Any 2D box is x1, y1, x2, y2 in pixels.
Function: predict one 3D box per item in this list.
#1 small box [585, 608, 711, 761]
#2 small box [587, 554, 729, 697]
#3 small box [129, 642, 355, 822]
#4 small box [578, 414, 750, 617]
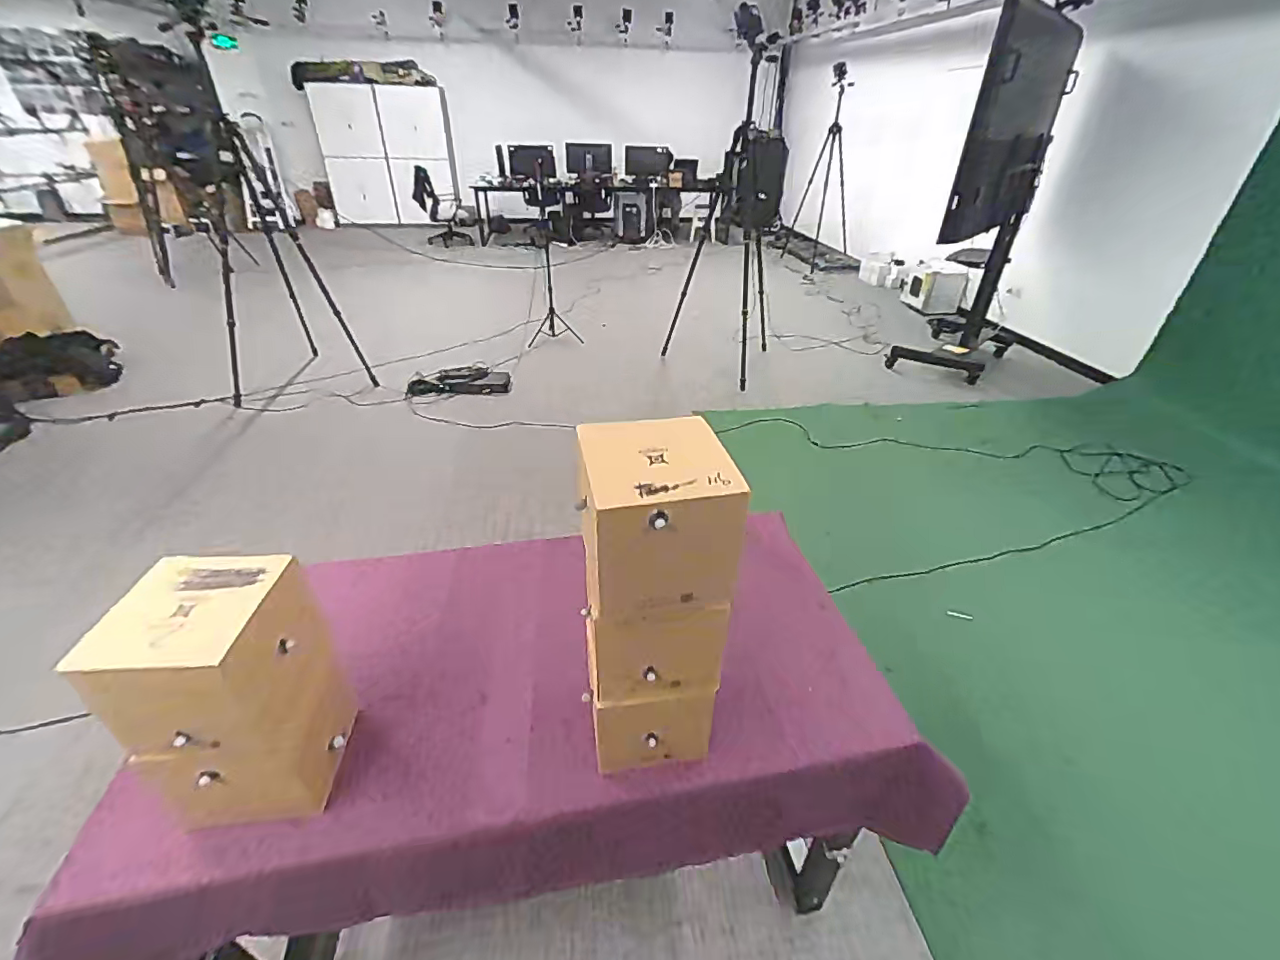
[{"bbox_3d":[0.006,0.311,0.839,0.168,0.176,0.179,-4,34,-9],"label":"small box"},{"bbox_3d":[0.013,0.172,0.754,0.168,0.176,0.179,-4,36,-8],"label":"small box"},{"bbox_3d":[-0.534,0.353,0.760,0.179,0.176,0.168,-2,34,-7],"label":"small box"},{"bbox_3d":[0.016,0.038,0.658,0.168,0.176,0.179,-7,35,-11],"label":"small box"}]
